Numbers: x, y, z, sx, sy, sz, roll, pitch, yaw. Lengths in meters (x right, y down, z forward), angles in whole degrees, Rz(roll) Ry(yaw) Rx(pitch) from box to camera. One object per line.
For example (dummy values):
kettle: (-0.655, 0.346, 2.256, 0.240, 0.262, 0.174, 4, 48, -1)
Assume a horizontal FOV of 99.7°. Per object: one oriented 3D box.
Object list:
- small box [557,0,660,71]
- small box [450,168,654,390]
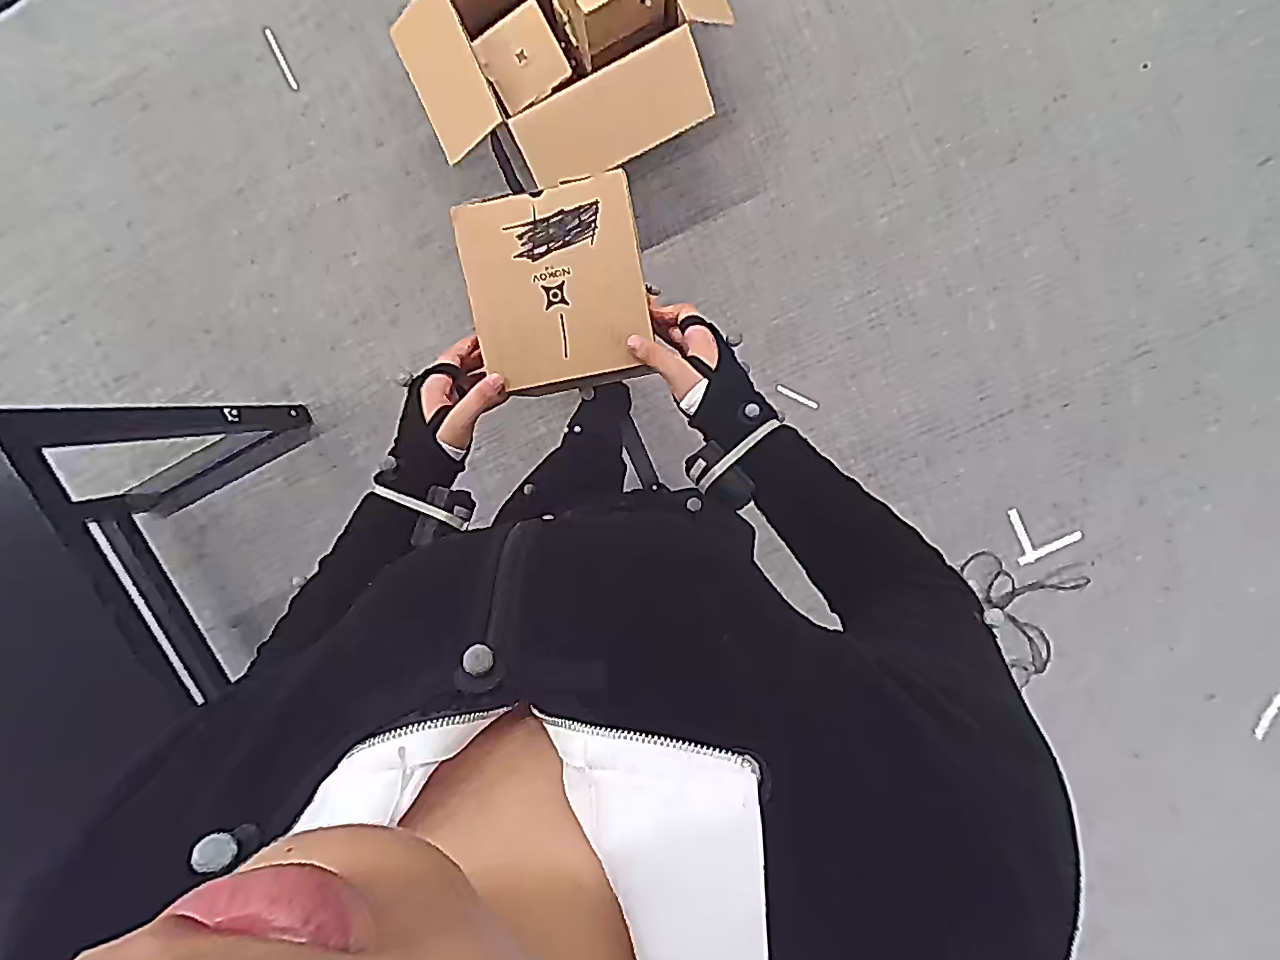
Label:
small box: (-0.068, -0.973, 1.070, 0.179, 0.176, 0.168, -27, 96, 4)
small box: (-0.080, -0.198, 0.587, 0.168, 0.176, 0.179, -10, 98, 5)
